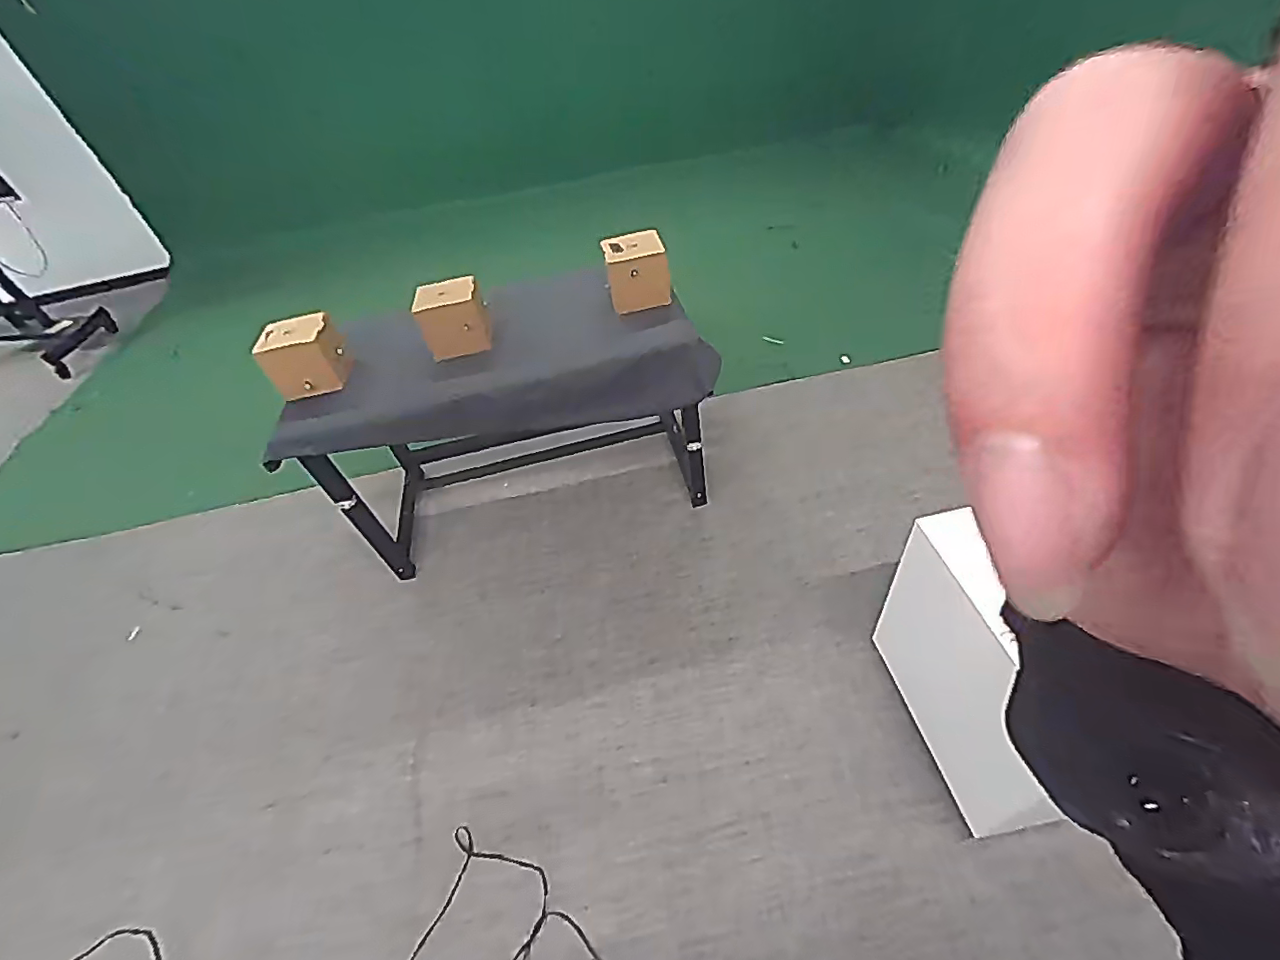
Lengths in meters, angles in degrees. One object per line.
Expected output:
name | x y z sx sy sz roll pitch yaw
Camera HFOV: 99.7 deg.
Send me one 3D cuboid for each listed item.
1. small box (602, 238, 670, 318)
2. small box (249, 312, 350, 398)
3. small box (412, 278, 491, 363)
small box | -0.010 -0.617 1.664 0.179 0.176 0.168 -11 45 -2
small box | -0.978 -0.362 1.573 0.179 0.176 0.168 -11 45 -4
small box | -0.556 -0.477 1.621 0.179 0.176 0.168 -13 44 -2
